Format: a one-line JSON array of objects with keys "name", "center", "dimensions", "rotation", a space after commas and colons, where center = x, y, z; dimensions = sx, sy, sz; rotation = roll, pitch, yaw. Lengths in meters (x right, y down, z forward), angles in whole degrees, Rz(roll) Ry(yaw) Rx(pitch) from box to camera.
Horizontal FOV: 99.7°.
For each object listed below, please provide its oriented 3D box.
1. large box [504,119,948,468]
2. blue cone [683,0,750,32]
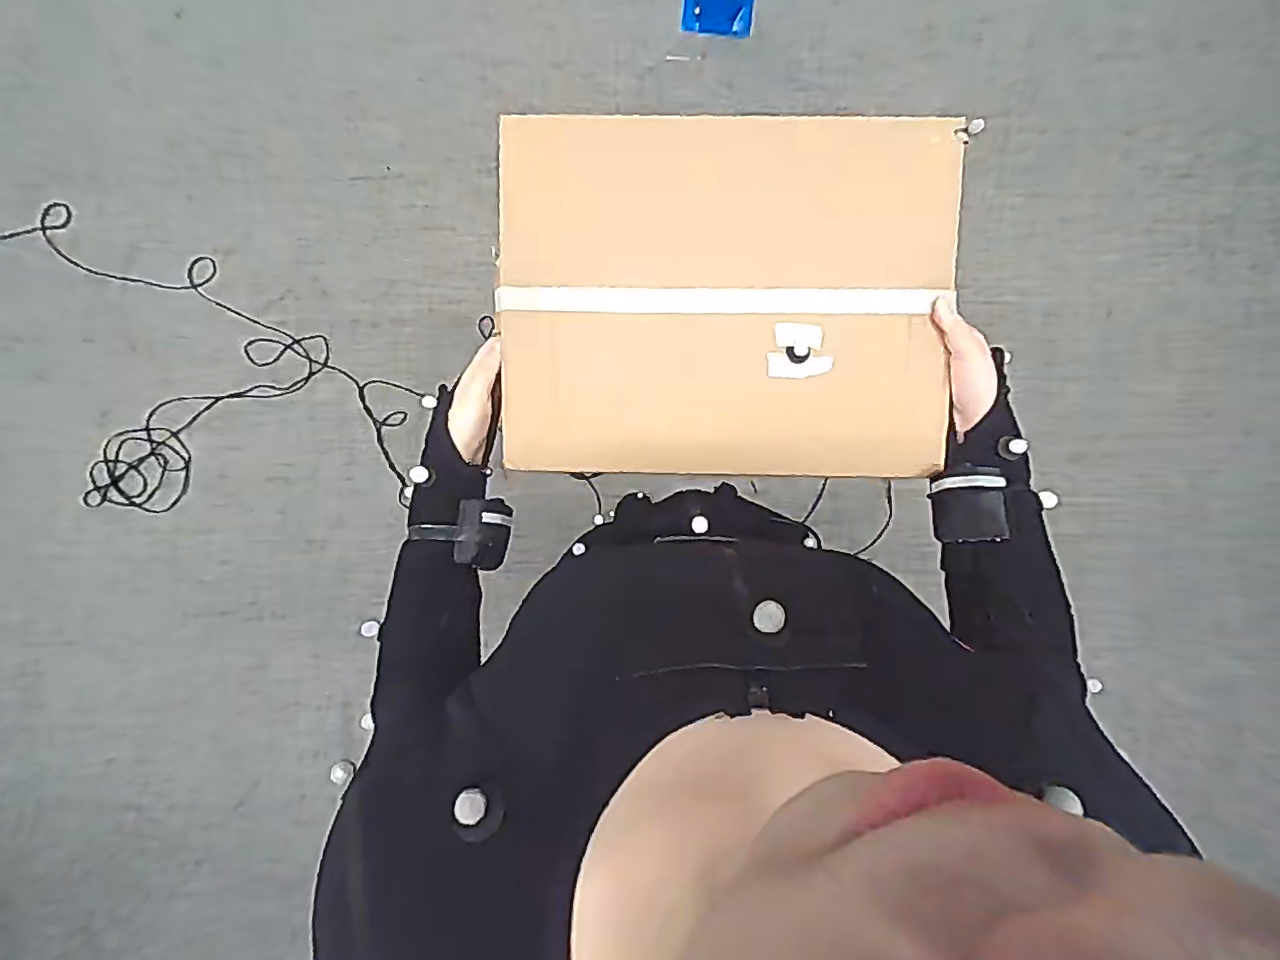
[{"name": "large box", "center": [0.076, -0.180, 0.642], "dimensions": [0.408, 0.320, 0.320], "rotation": [0, 96, 0]}, {"name": "blue cone", "center": [0.219, -1.399, 1.398], "dimensions": [0.193, 0.380, 0.192], "rotation": [8, 88, 1]}]
